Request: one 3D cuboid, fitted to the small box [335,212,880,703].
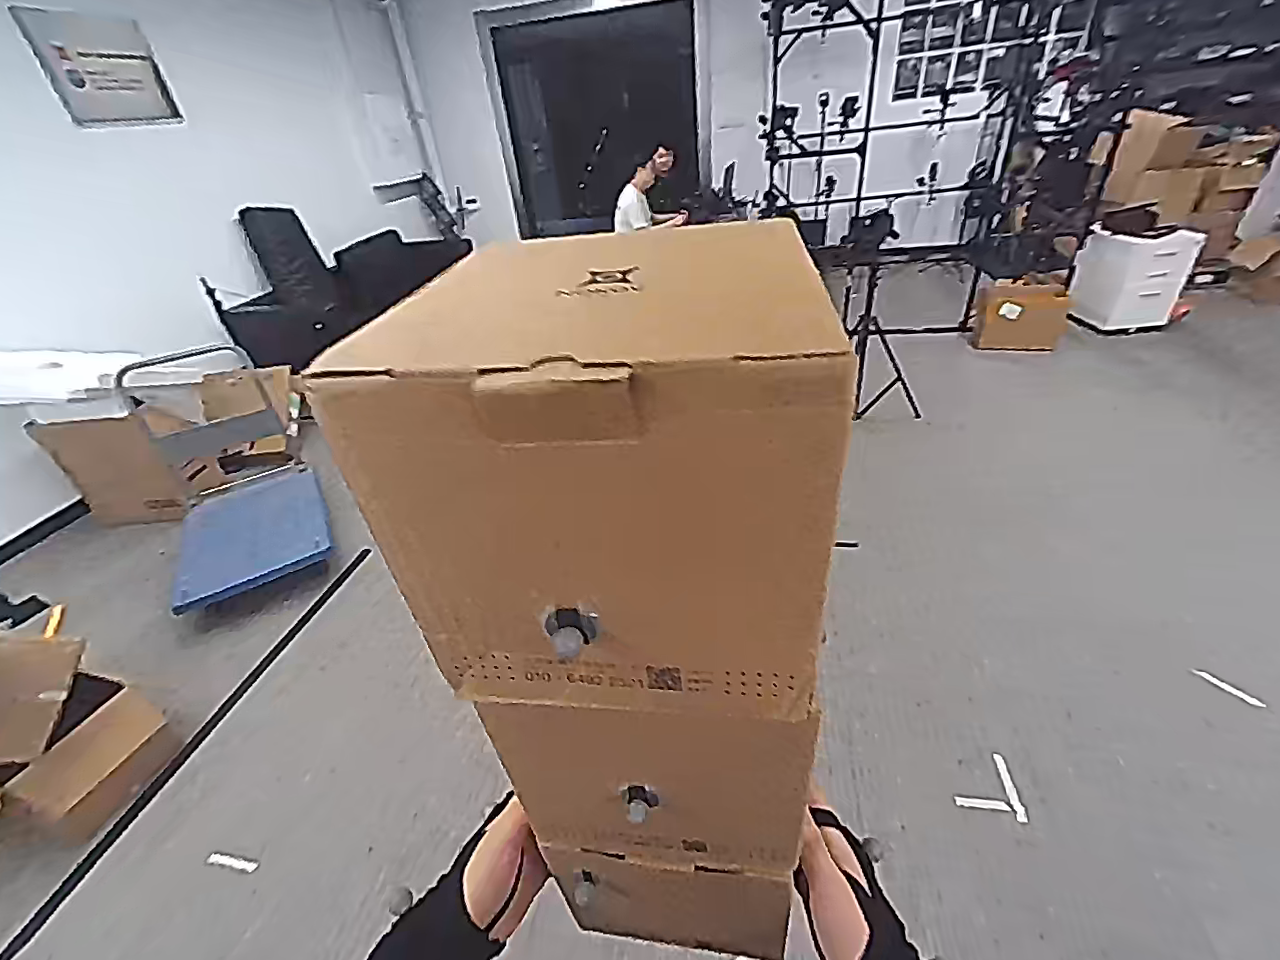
[{"bbox_3d":[0.002,-0.021,0.267,0.168,0.176,0.179,-1,36,9],"label":"small box"}]

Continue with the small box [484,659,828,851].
[{"bbox_3d":[0.024,0.112,0.358,0.168,0.176,0.179,0,35,10],"label":"small box"}]
